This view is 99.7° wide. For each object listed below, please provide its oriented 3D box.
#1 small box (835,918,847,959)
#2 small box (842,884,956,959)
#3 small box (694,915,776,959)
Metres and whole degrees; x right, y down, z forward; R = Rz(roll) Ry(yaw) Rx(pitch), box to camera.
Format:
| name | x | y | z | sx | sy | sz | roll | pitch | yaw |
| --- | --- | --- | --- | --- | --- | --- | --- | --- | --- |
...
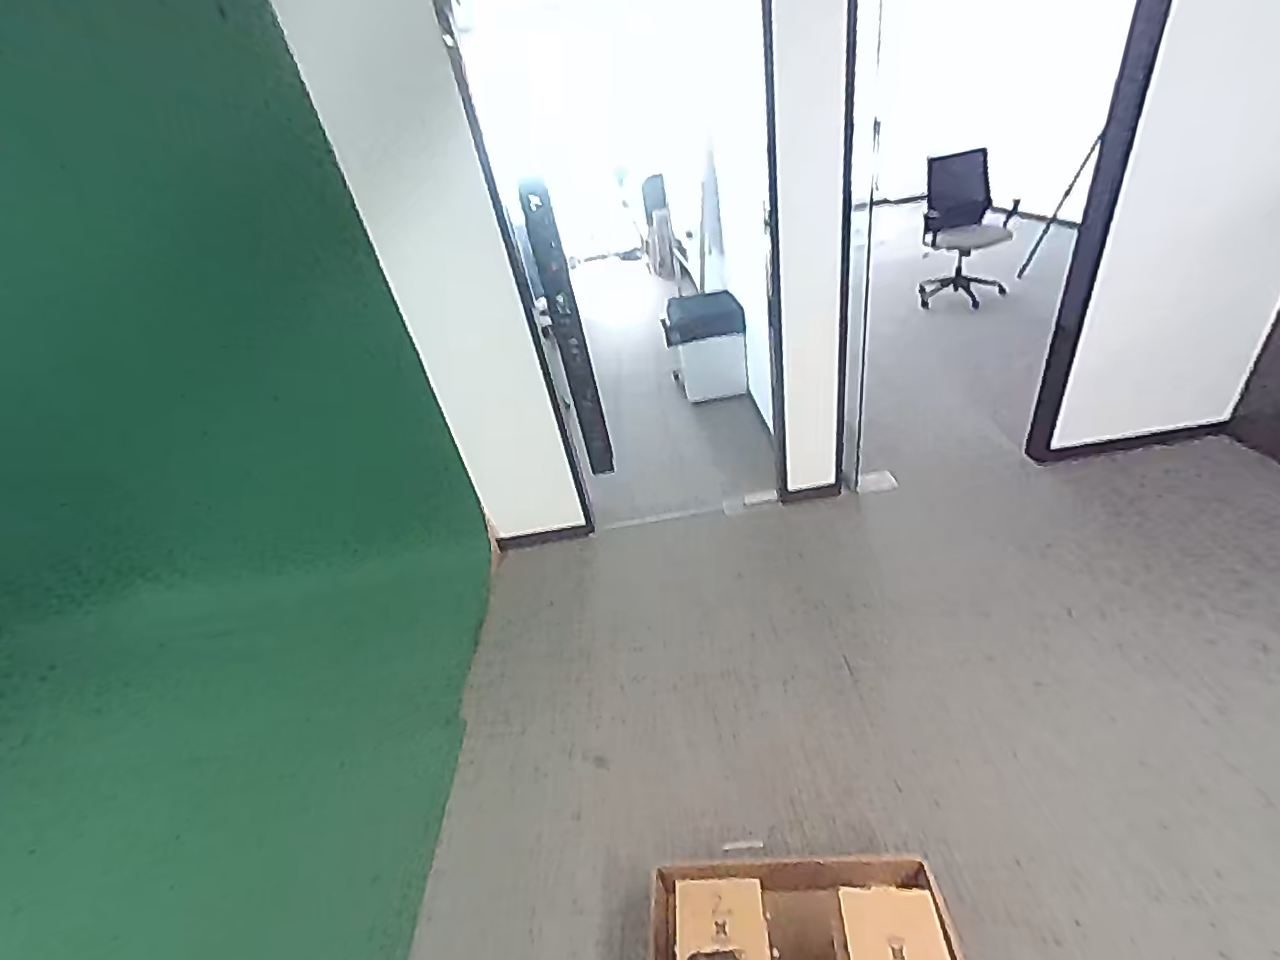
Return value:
| name | x | y | z | sx | sy | sz | roll | pitch | yaw |
| --- | --- | --- | --- | --- | --- | --- | --- | --- | --- |
| small box | 0.487 | 1.004 | 1.066 | 0.168 | 0.176 | 0.179 | -7 | 33 | 9 |
| small box | 0.465 | 0.869 | 0.975 | 0.168 | 0.176 | 0.179 | -6 | 32 | 10 |
| small box | 0.202 | 1.035 | 1.113 | 0.168 | 0.176 | 0.179 | -7 | 32 | 8 |
